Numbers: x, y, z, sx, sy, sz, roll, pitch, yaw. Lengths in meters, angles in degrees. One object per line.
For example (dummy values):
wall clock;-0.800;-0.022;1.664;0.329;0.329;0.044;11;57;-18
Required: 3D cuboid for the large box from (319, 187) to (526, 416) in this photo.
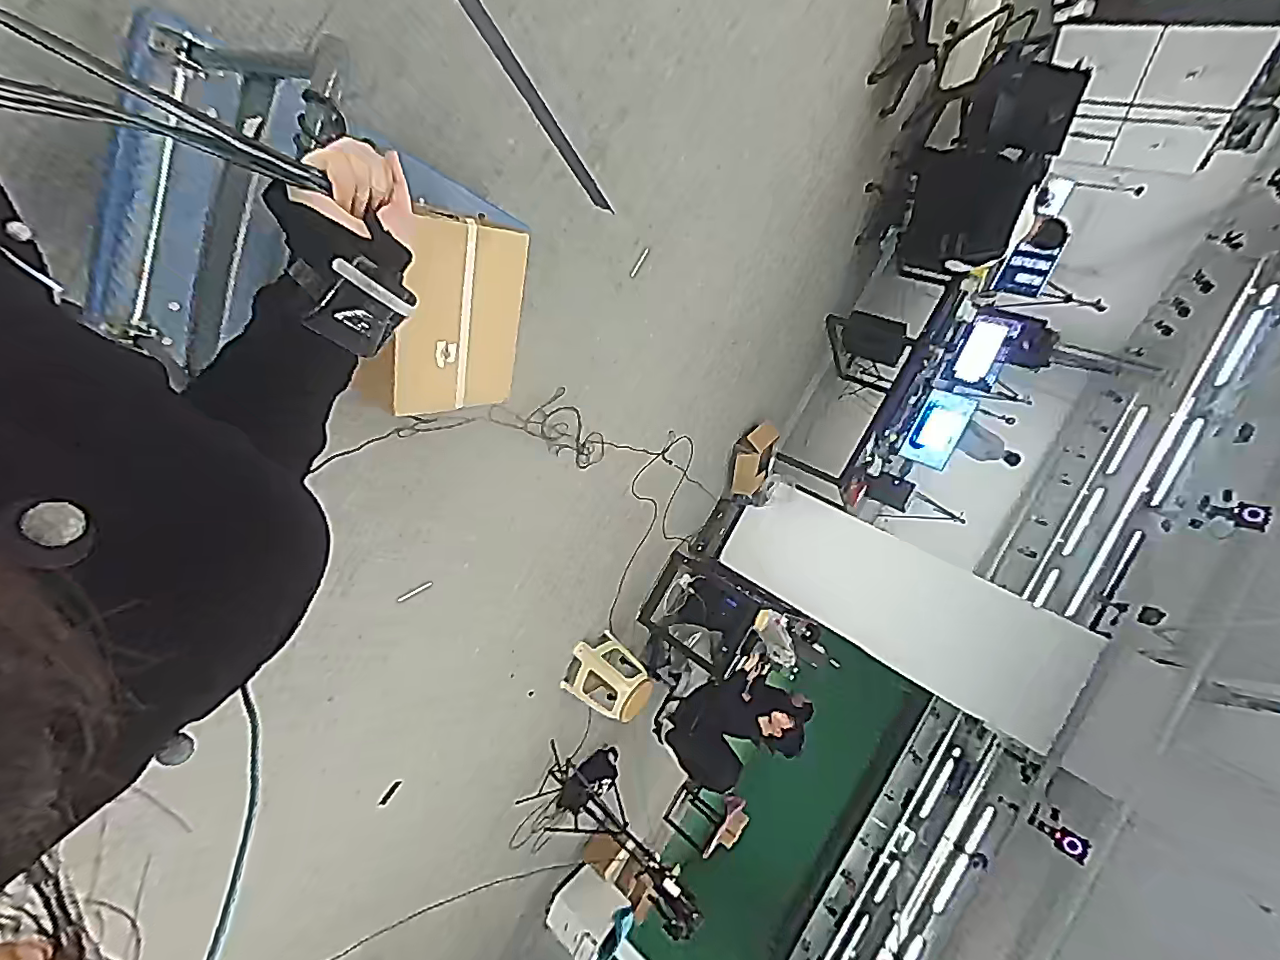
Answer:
large box;-0.499;-0.407;1.240;0.320;0.320;0.408;-20;132;-49
